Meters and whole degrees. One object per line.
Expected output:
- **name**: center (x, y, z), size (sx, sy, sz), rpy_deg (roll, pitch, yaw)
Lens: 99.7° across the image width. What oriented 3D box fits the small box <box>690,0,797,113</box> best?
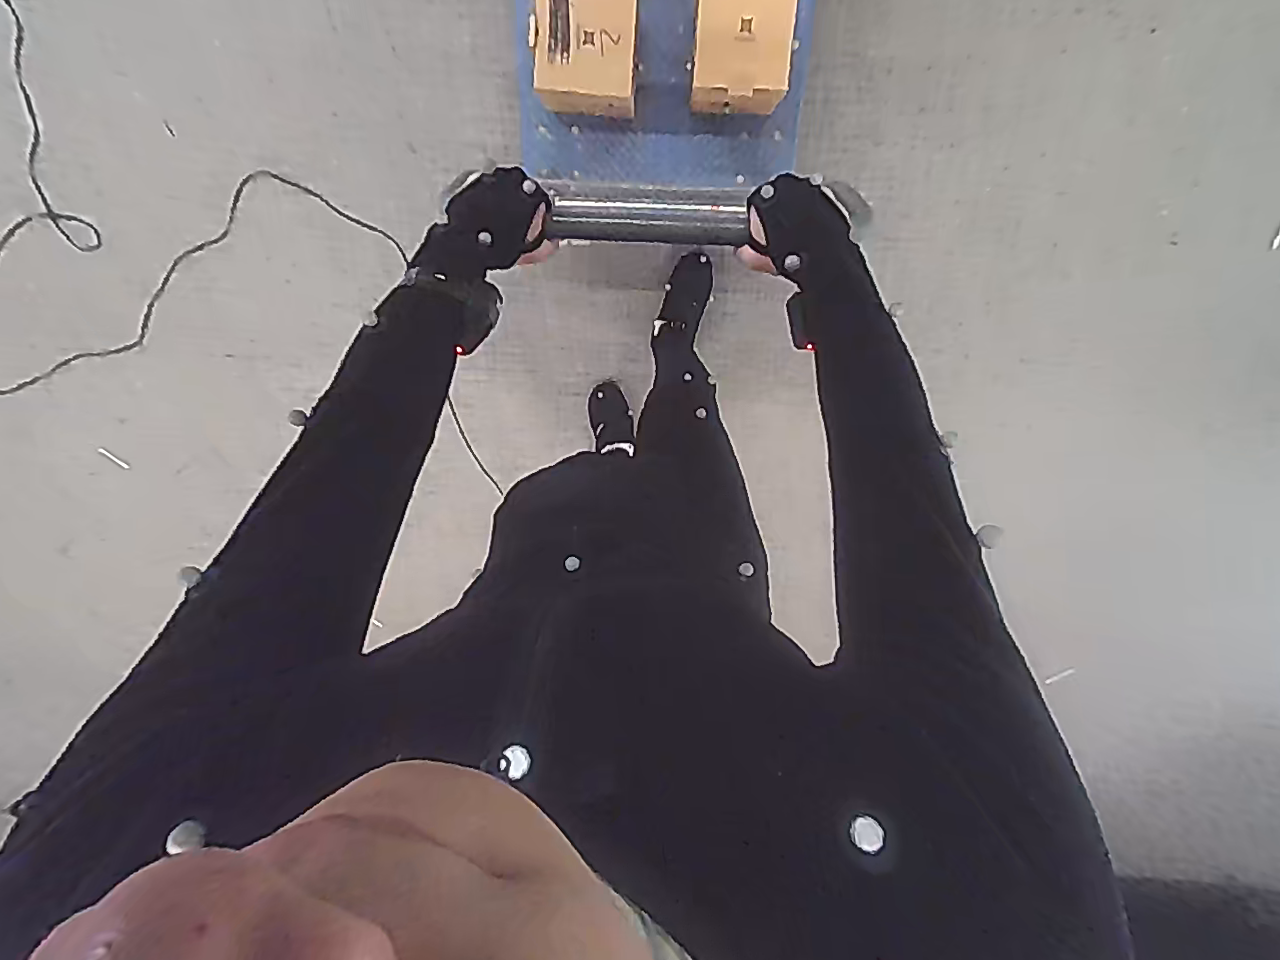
- **small box**: center (0.181, -0.801, 0.994), size (0.168, 0.176, 0.179), rpy_deg (2, 114, 1)
